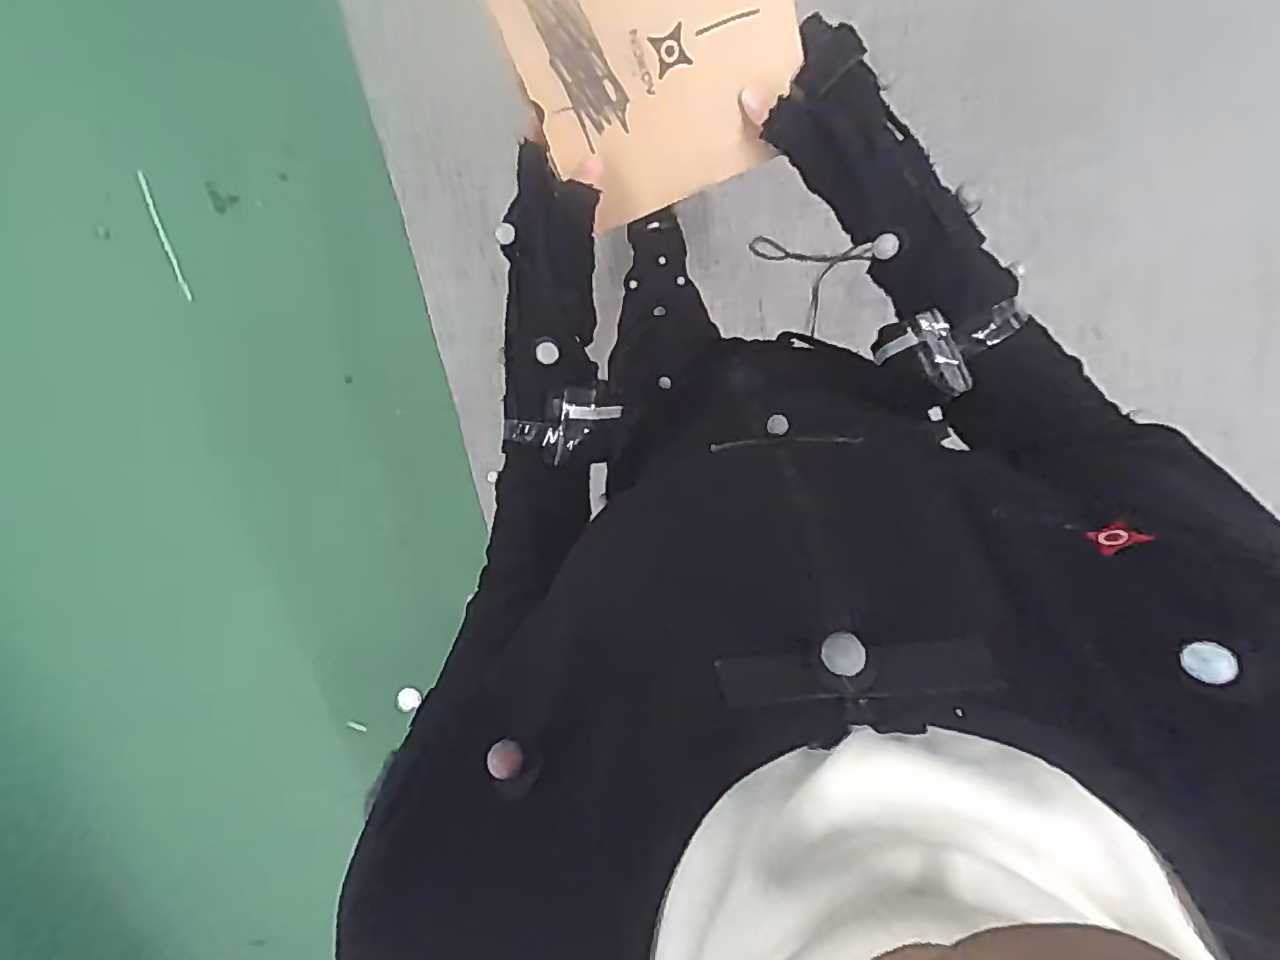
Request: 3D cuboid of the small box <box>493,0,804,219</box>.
[{"bbox_3d":[0.006,-0.325,0.422,0.179,0.176,0.168,-19,121,8],"label":"small box"}]
